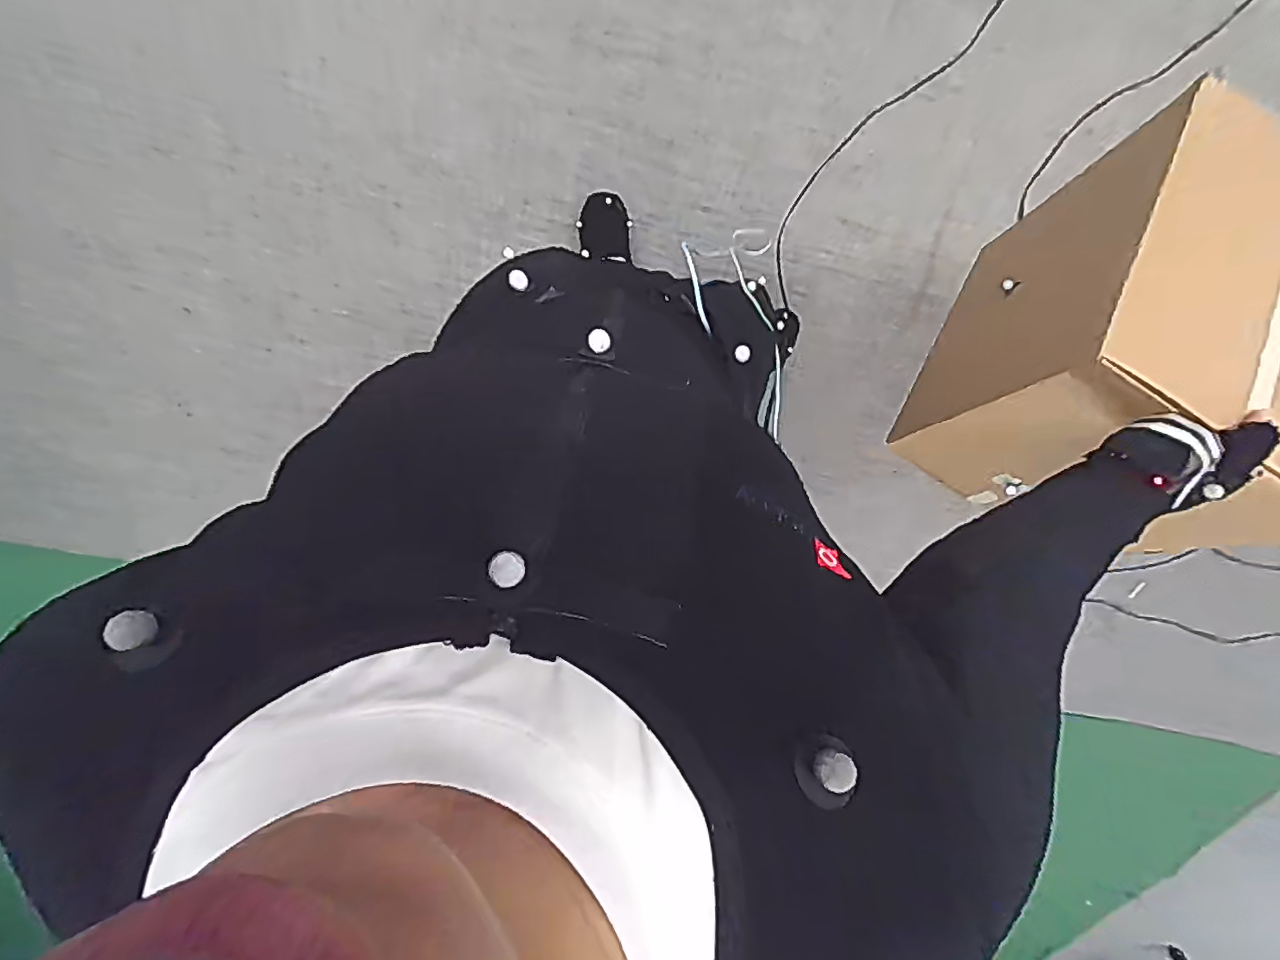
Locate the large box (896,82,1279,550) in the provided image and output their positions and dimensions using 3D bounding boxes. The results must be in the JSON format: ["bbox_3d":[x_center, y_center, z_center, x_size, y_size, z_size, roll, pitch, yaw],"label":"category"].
[{"bbox_3d":[0.611,-0.163,0.691,0.320,0.320,0.408,32,76,-4],"label":"large box"}]
